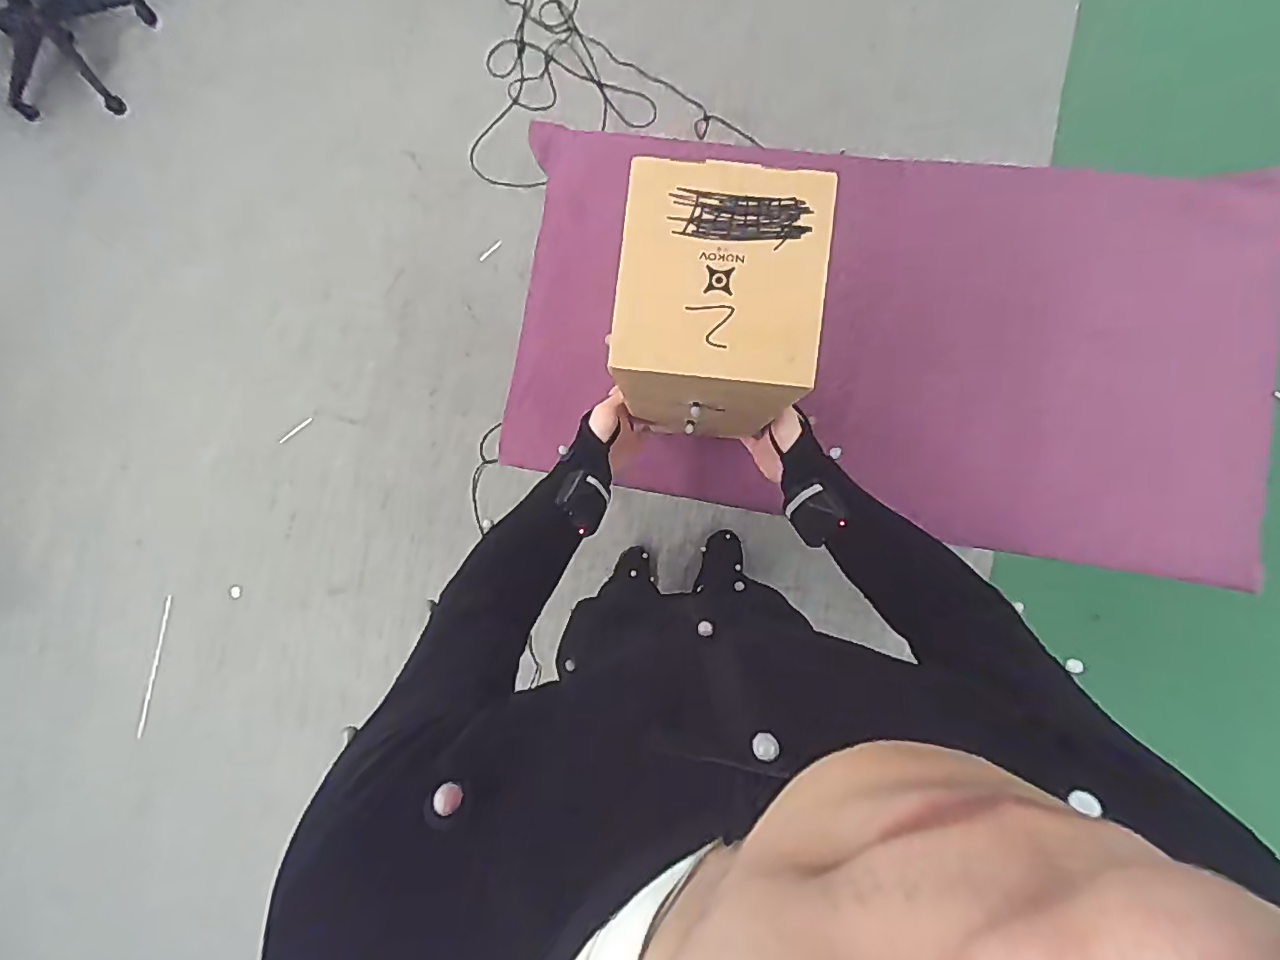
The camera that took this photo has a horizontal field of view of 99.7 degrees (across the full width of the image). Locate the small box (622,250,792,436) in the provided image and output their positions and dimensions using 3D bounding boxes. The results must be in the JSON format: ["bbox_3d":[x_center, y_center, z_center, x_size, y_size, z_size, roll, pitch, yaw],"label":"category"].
[{"bbox_3d":[0.077,-0.154,0.663,0.168,0.176,0.179,7,88,3],"label":"small box"}]
